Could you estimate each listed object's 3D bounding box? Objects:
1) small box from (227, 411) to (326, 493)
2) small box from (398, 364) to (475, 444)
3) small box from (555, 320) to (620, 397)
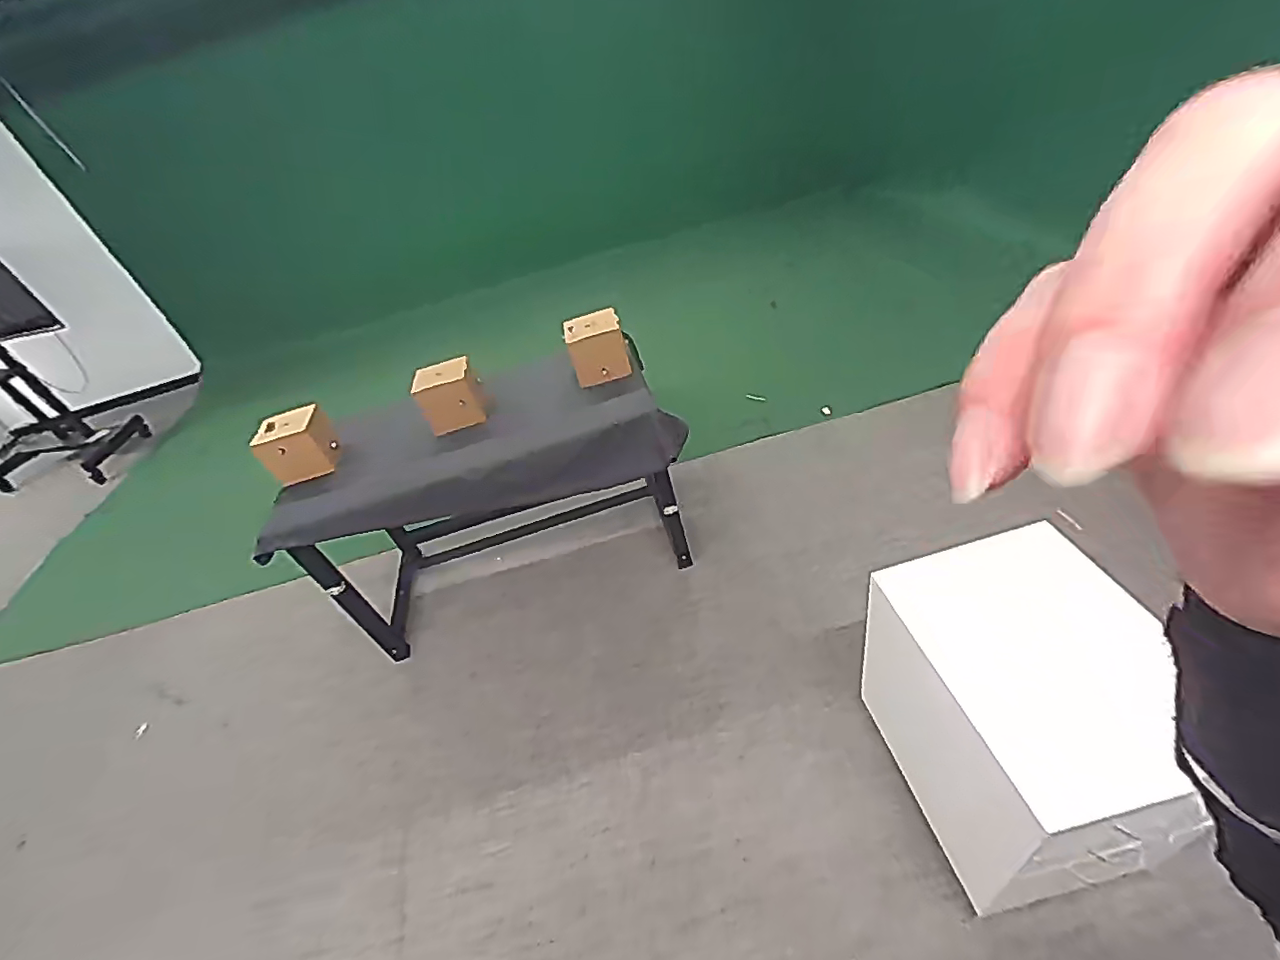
[{"bbox_3d":[-1.118,-0.085,1.678,0.179,0.176,0.168,-17,39,-6],"label":"small box"},{"bbox_3d":[-0.642,-0.242,1.728,0.179,0.176,0.168,-18,37,-2],"label":"small box"},{"bbox_3d":[-0.168,-0.395,1.761,0.179,0.176,0.168,-15,39,-1],"label":"small box"}]
